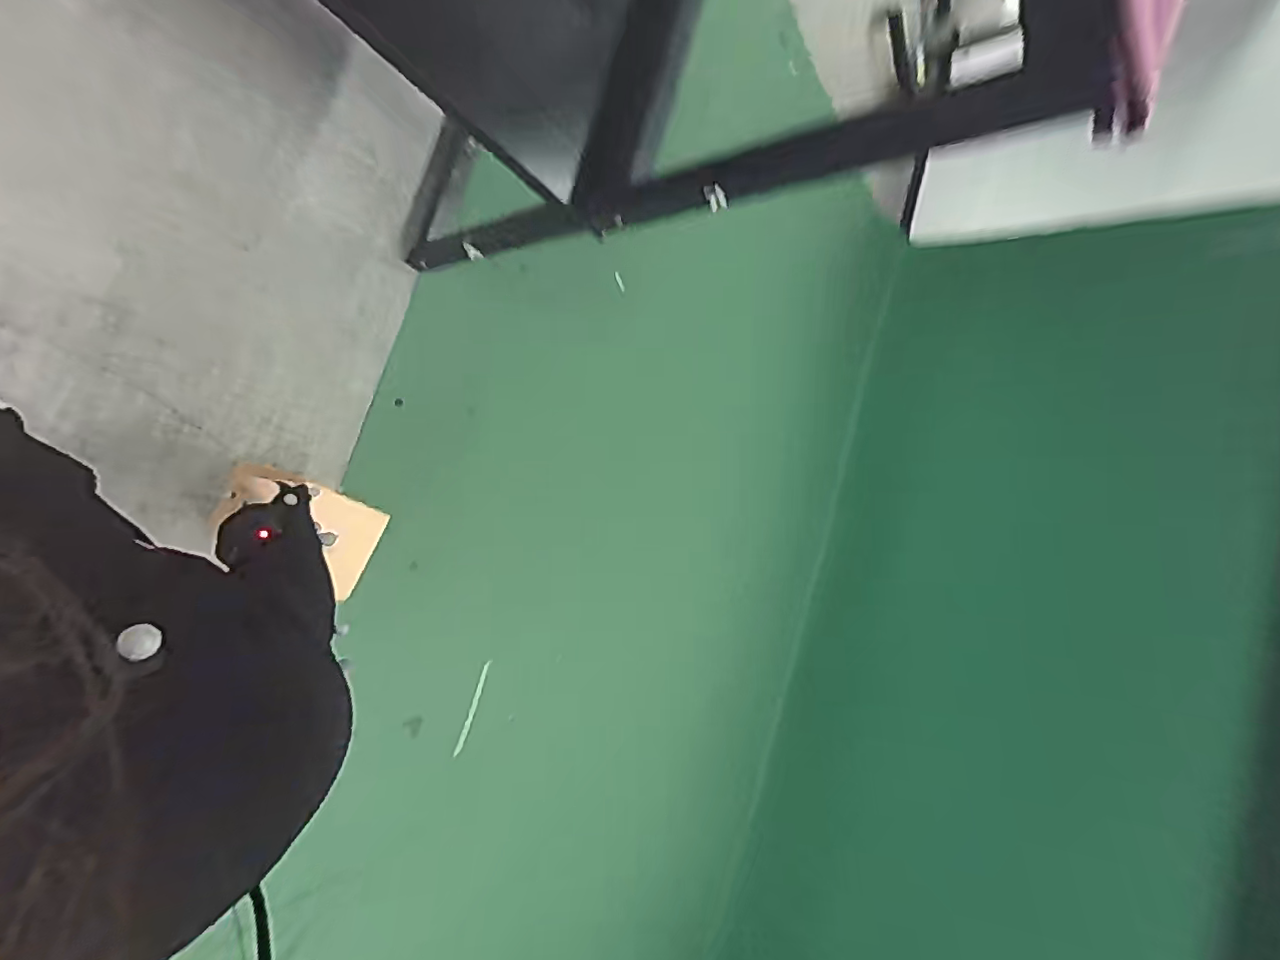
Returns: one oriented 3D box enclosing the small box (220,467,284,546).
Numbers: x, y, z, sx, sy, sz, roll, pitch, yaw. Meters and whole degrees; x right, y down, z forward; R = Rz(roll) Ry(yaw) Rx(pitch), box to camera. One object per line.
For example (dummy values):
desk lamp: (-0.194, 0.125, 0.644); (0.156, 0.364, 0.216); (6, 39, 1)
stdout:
small box: (-0.727, 0.081, 1.124); (0.179, 0.176, 0.168); (34, 72, -46)

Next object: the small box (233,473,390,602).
small box: (-0.612, 0.101, 1.005); (0.168, 0.176, 0.179); (38, 70, -45)
